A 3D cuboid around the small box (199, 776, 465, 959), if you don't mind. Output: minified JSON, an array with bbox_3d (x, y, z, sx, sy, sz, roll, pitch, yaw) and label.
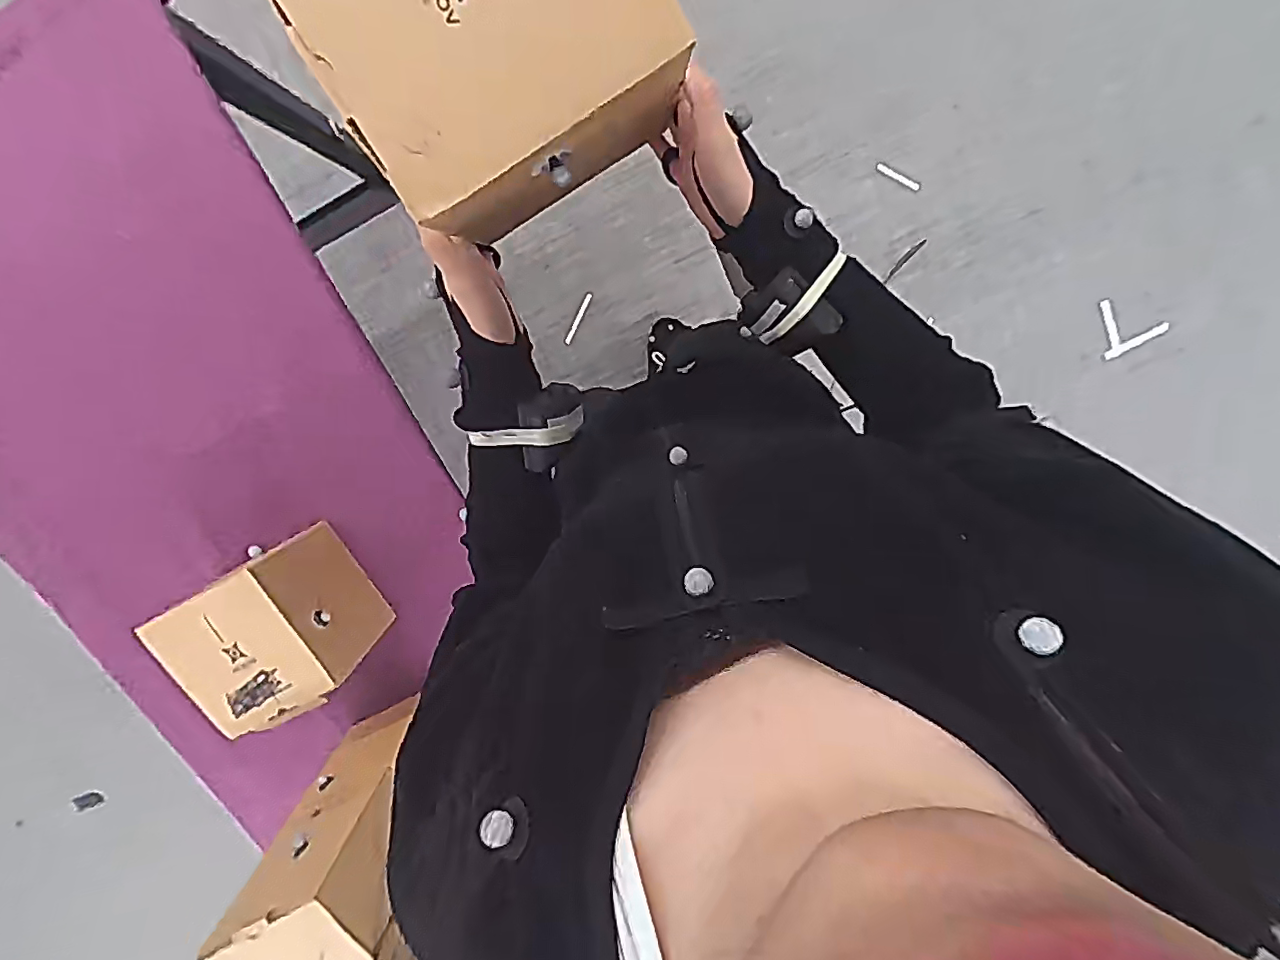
[{"bbox_3d":[-0.341,0.488,0.639,0.168,0.176,0.179,-30,104,8],"label":"small box"}]

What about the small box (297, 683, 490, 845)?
[{"bbox_3d":[-0.340,0.435,0.794,0.179,0.176,0.168,-29,105,7],"label":"small box"}]

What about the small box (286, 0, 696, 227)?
[{"bbox_3d":[-0.085,-0.280,0.335,0.179,0.176,0.168,-29,109,8],"label":"small box"}]

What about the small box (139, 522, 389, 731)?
[{"bbox_3d":[-0.475,0.183,0.718,0.168,0.176,0.179,-27,104,6],"label":"small box"}]
